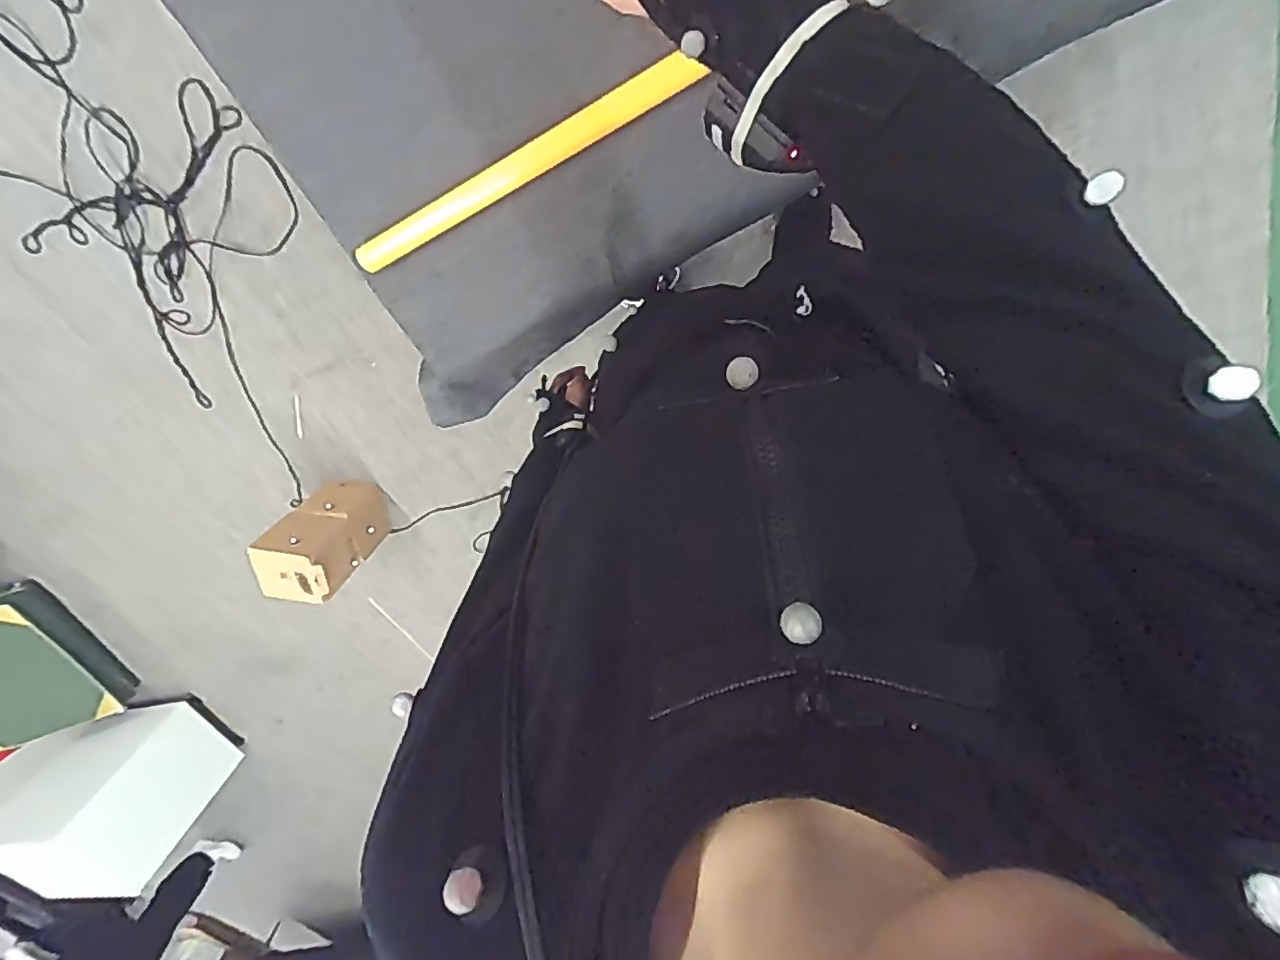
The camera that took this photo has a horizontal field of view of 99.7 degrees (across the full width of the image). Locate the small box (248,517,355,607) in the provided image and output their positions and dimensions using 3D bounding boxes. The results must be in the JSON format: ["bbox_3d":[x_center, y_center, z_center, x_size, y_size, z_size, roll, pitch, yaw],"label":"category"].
[{"bbox_3d":[-0.903,0.218,1.469,0.179,0.176,0.168,7,120,4],"label":"small box"}]

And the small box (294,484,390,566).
[{"bbox_3d":[-0.873,0.132,1.607,0.168,0.176,0.179,2,121,6],"label":"small box"}]
